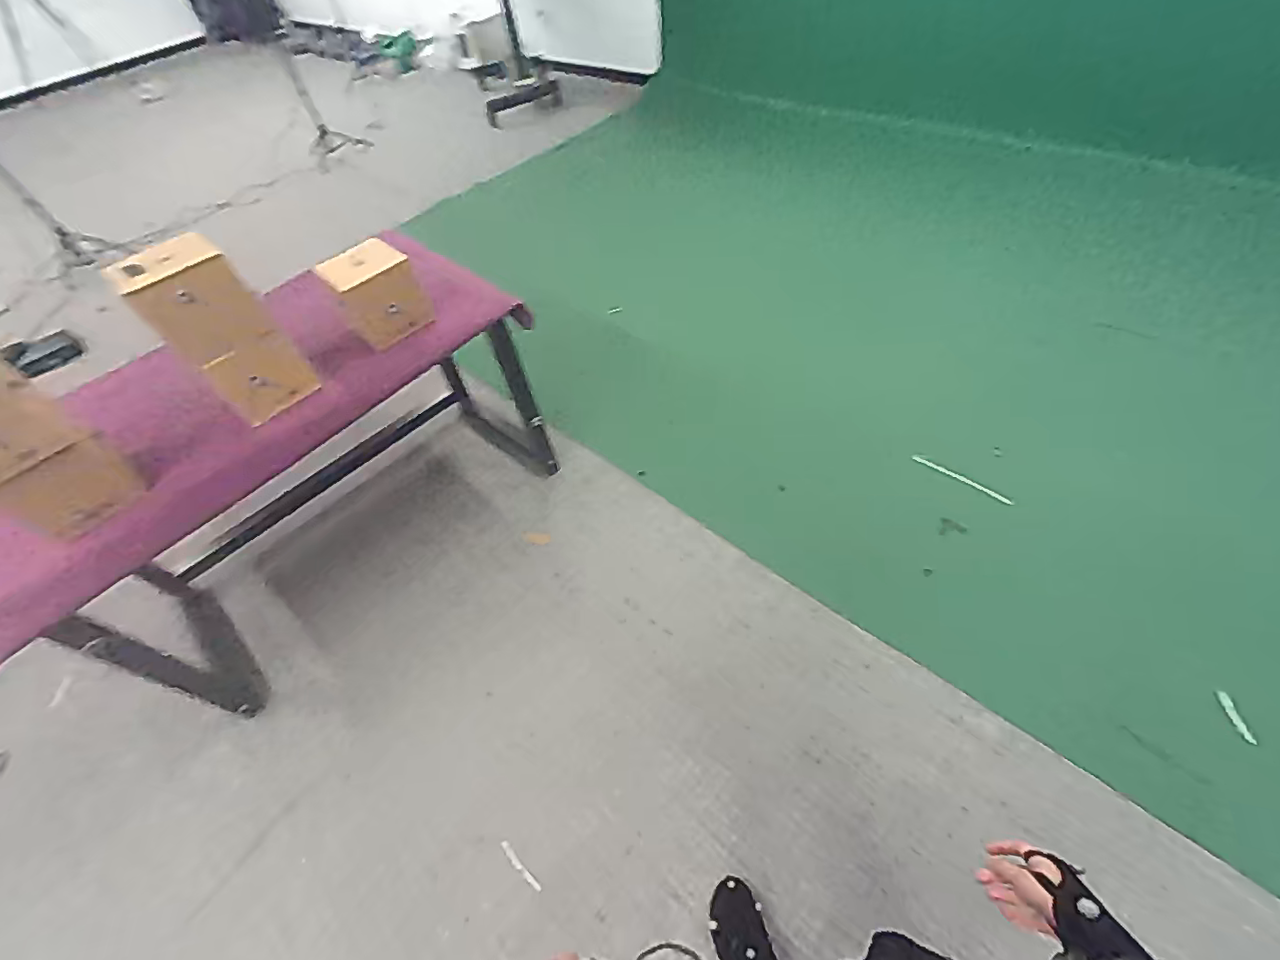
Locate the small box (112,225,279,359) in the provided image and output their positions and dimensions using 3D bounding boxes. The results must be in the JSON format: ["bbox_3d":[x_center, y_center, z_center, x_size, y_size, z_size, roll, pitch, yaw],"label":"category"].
[{"bbox_3d":[-0.867,-0.368,1.067,0.179,0.176,0.168,-40,56,-22],"label":"small box"}]

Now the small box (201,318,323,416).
[{"bbox_3d":[-0.847,-0.268,1.196,0.179,0.176,0.168,32,63,30],"label":"small box"}]

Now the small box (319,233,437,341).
[{"bbox_3d":[-0.628,-0.463,1.313,0.168,0.176,0.179,-39,56,-21],"label":"small box"}]

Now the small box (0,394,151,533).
[{"bbox_3d":[-1.115,-0.028,1.045,0.179,0.176,0.168,33,63,28],"label":"small box"}]

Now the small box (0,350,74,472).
[{"bbox_3d":[-1.125,-0.124,0.912,0.179,0.176,0.168,35,64,29],"label":"small box"}]
